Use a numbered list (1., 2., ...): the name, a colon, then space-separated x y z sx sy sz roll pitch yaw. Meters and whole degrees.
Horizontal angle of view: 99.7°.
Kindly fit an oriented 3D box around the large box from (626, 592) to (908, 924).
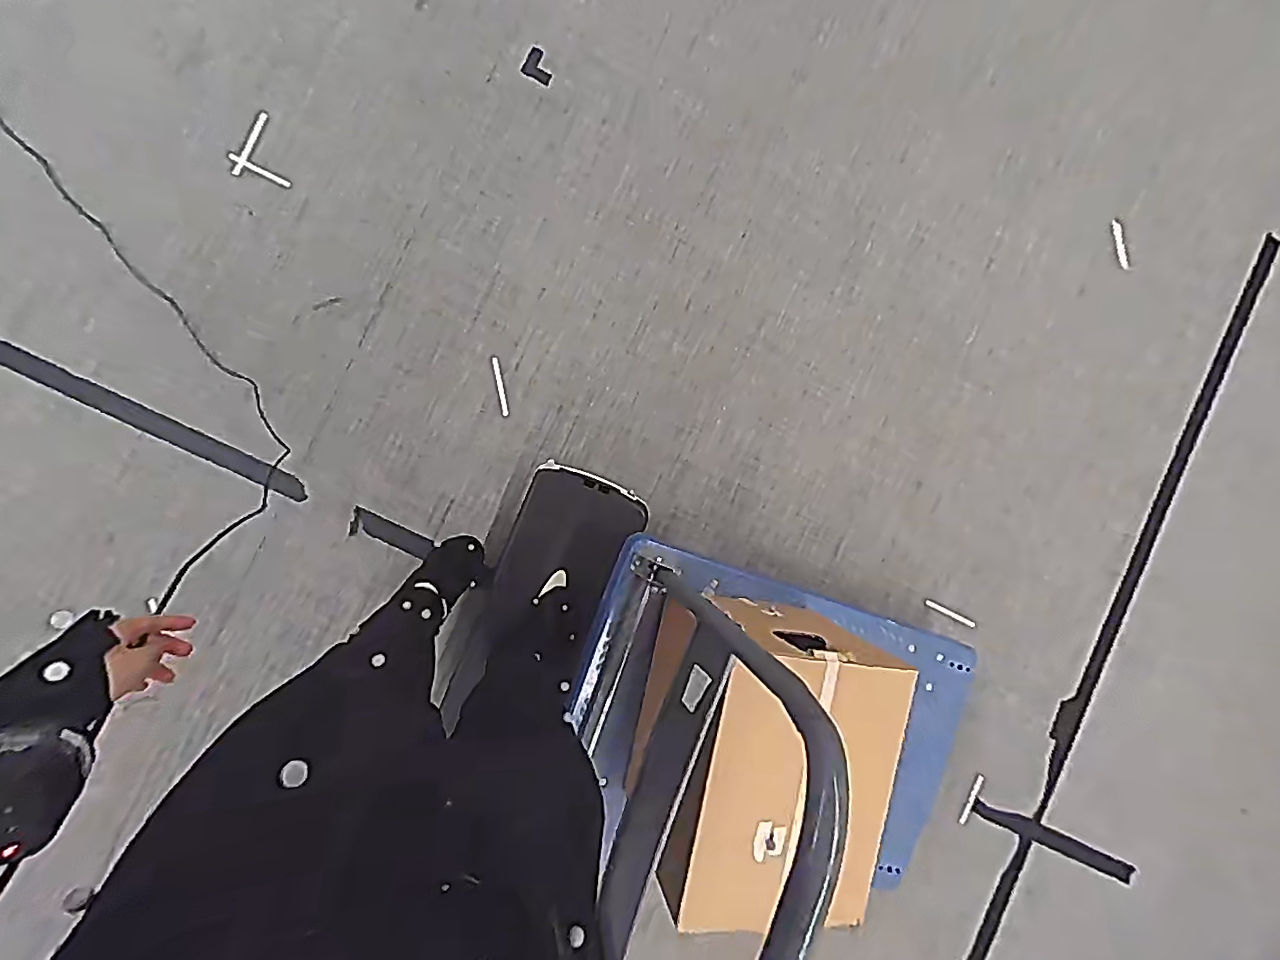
1. large box: 0.191 0.441 0.933 0.320 0.320 0.408 12 92 -15
